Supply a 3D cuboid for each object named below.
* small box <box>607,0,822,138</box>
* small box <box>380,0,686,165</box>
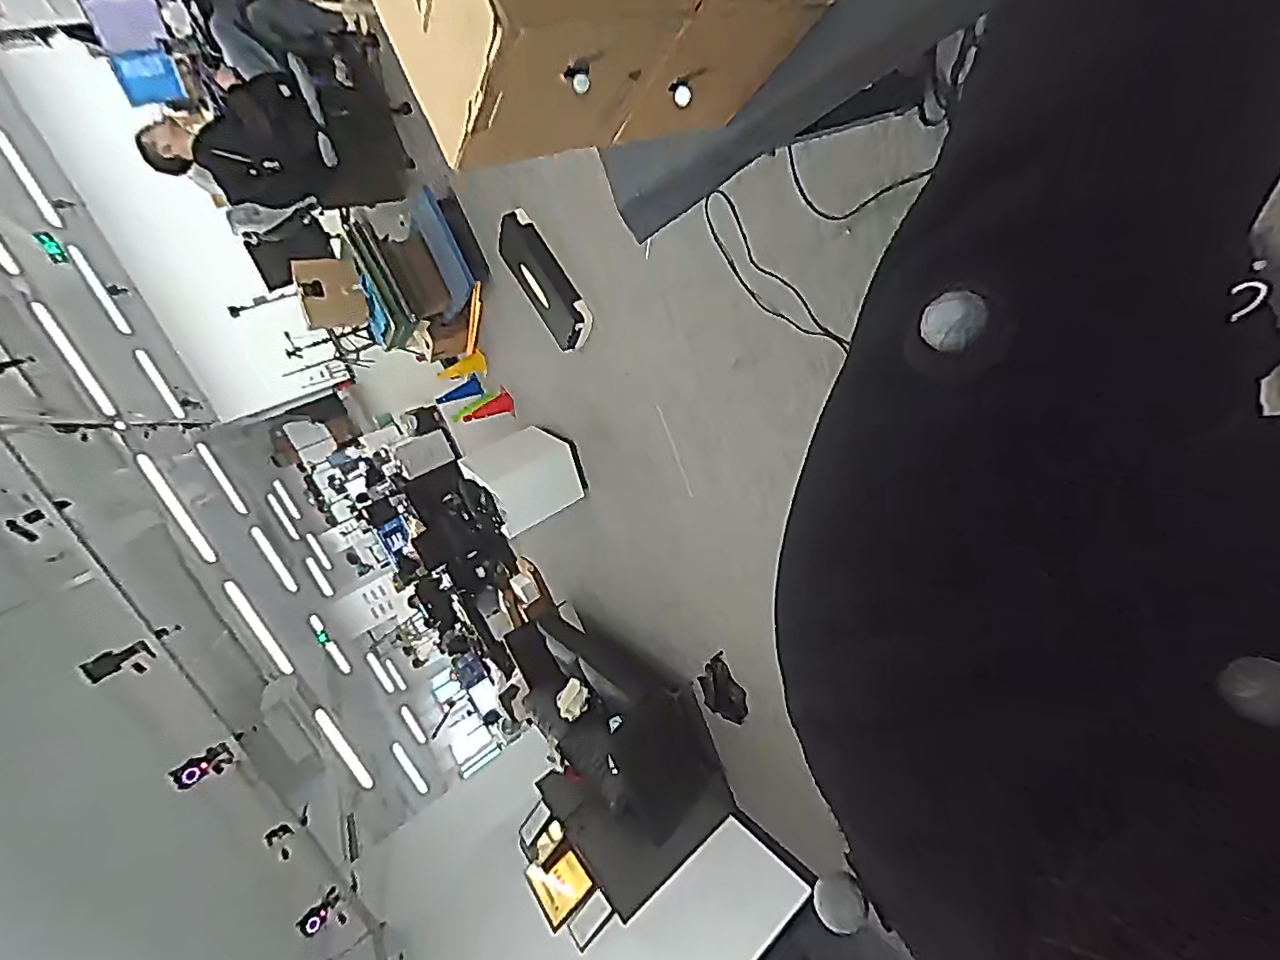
[{"bbox_3d":[0.041,-0.457,0.491,0.179,0.176,0.168,-10,107,63],"label":"small box"},{"bbox_3d":[-0.091,-0.390,0.424,0.168,0.176,0.179,-6,109,61],"label":"small box"}]
